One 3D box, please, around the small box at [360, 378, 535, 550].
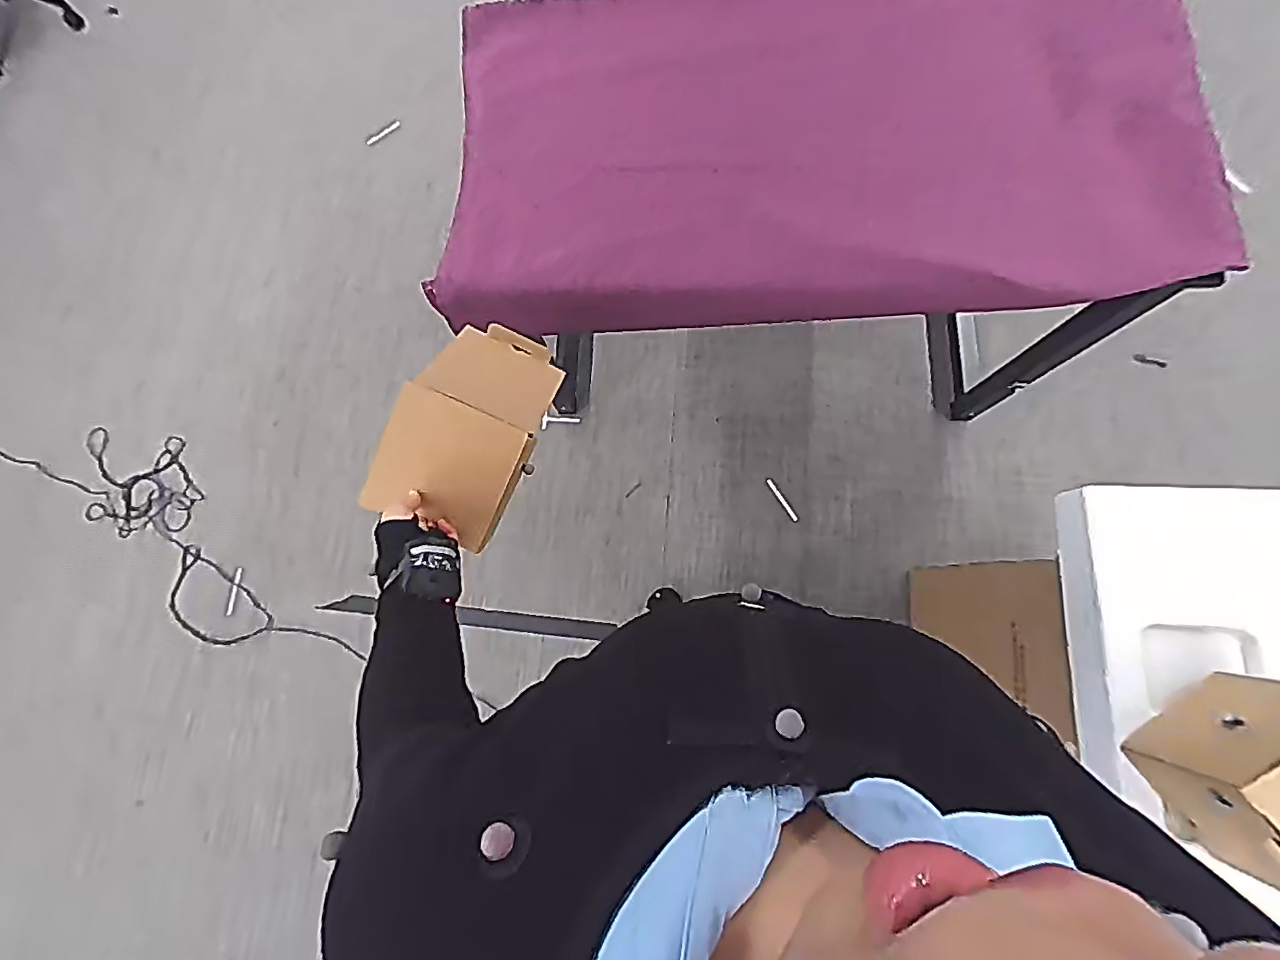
[{"bbox_3d":[-0.260,-0.023,0.776,0.168,0.176,0.179,25,89,-9],"label":"small box"}]
